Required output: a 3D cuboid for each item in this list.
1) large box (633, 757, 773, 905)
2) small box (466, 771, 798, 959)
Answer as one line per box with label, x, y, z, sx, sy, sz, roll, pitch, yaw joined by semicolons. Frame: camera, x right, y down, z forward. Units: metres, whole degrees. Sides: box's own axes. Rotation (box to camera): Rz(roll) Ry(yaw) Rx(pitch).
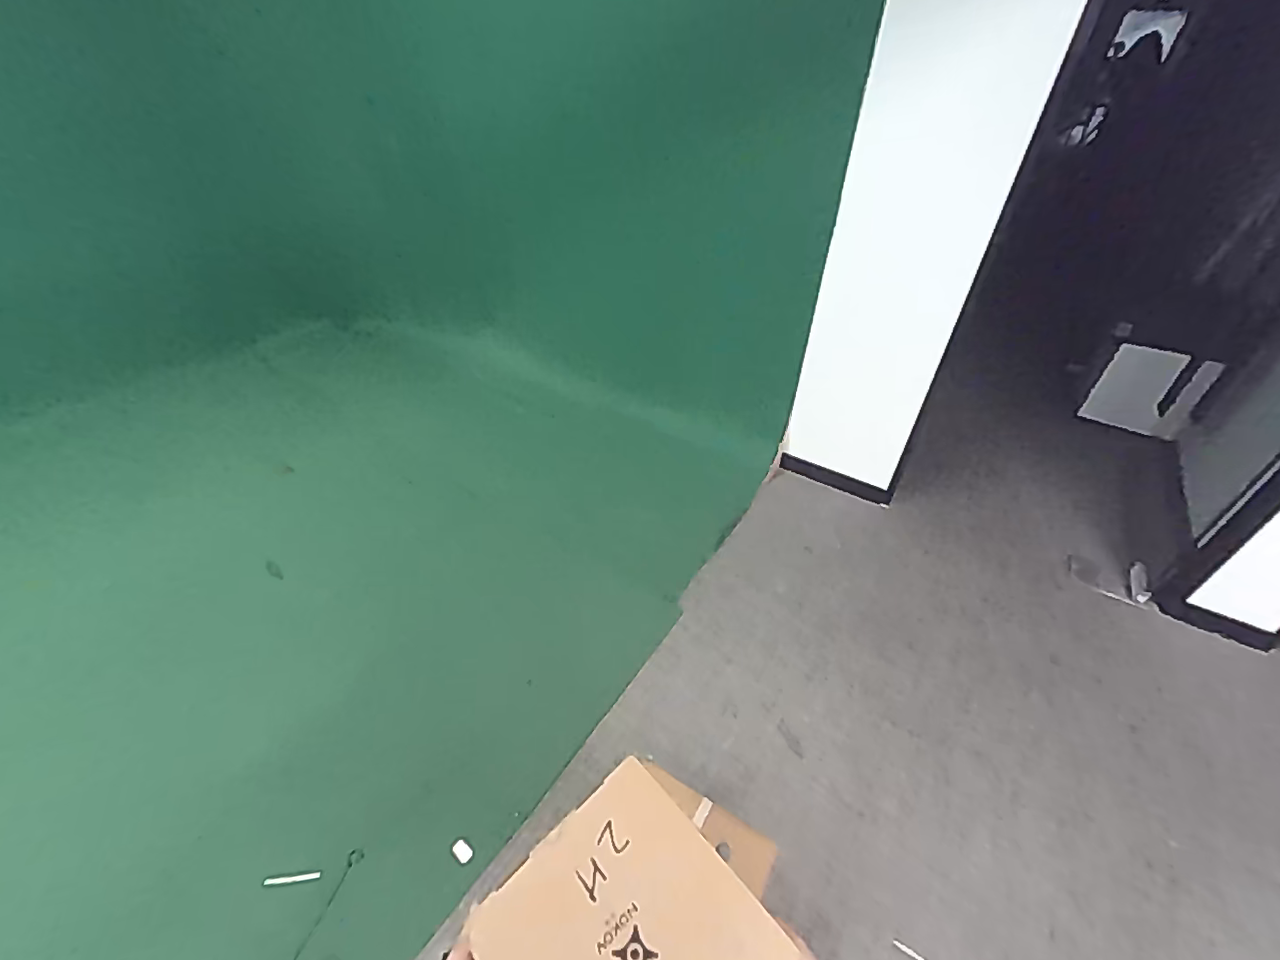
large box;0.027;0.875;1.078;0.320;0.320;0.408;23;44;24
small box;-0.001;0.372;0.424;0.168;0.176;0.179;-36;58;-25
